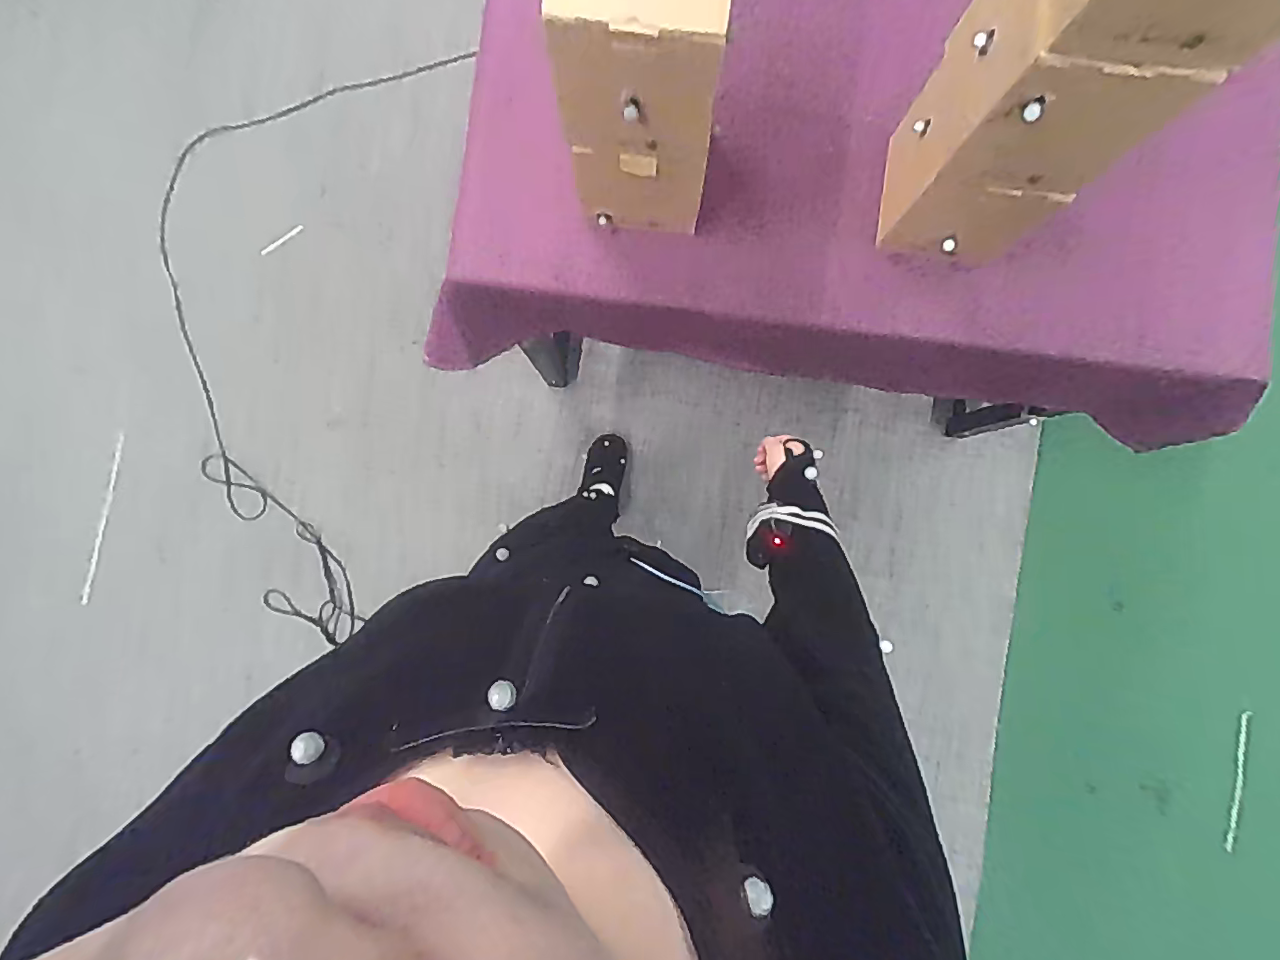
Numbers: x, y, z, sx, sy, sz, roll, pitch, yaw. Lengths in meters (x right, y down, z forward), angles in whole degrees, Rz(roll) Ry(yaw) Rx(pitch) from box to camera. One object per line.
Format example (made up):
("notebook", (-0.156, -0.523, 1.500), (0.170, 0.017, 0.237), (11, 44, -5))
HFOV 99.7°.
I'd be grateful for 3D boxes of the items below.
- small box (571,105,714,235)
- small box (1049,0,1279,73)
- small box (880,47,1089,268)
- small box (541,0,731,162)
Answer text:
("small box", (0.009, -0.454, 0.722), (0.168, 0.176, 0.179), (6, 85, 0))
("small box", (0.439, -0.443, 0.391), (0.168, 0.176, 0.179), (7, 85, 0))
("small box", (0.440, -0.412, 0.717), (0.168, 0.176, 0.179), (10, 87, 1))
("small box", (0.005, -0.466, 0.558), (0.168, 0.176, 0.179), (8, 87, 0))
